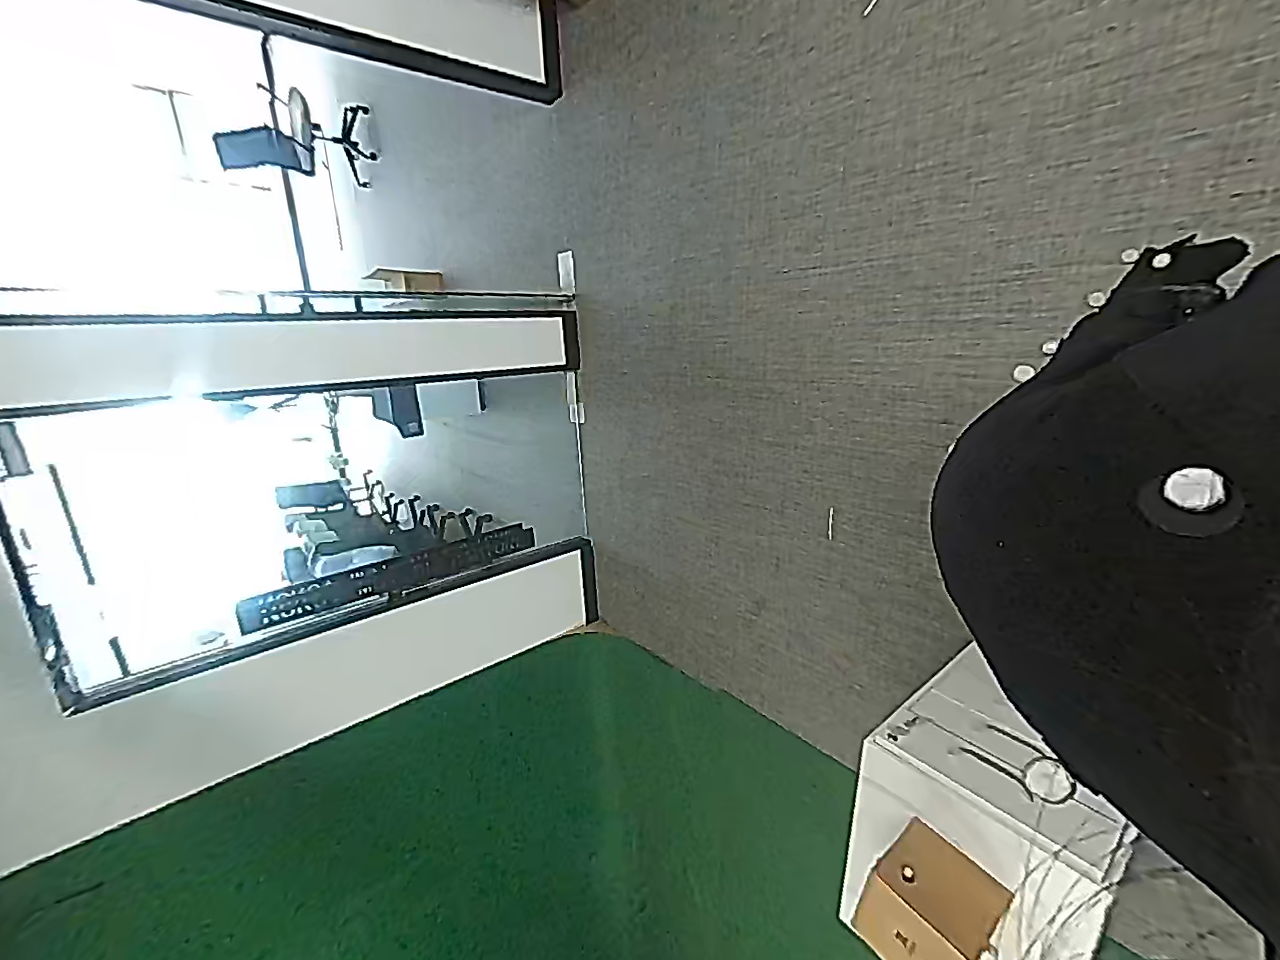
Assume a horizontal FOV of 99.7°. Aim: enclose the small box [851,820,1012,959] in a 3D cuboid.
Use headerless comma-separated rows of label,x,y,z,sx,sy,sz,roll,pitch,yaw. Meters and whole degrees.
small box,0.514,0.750,0.962,0.179,0.176,0.168,29,124,44
